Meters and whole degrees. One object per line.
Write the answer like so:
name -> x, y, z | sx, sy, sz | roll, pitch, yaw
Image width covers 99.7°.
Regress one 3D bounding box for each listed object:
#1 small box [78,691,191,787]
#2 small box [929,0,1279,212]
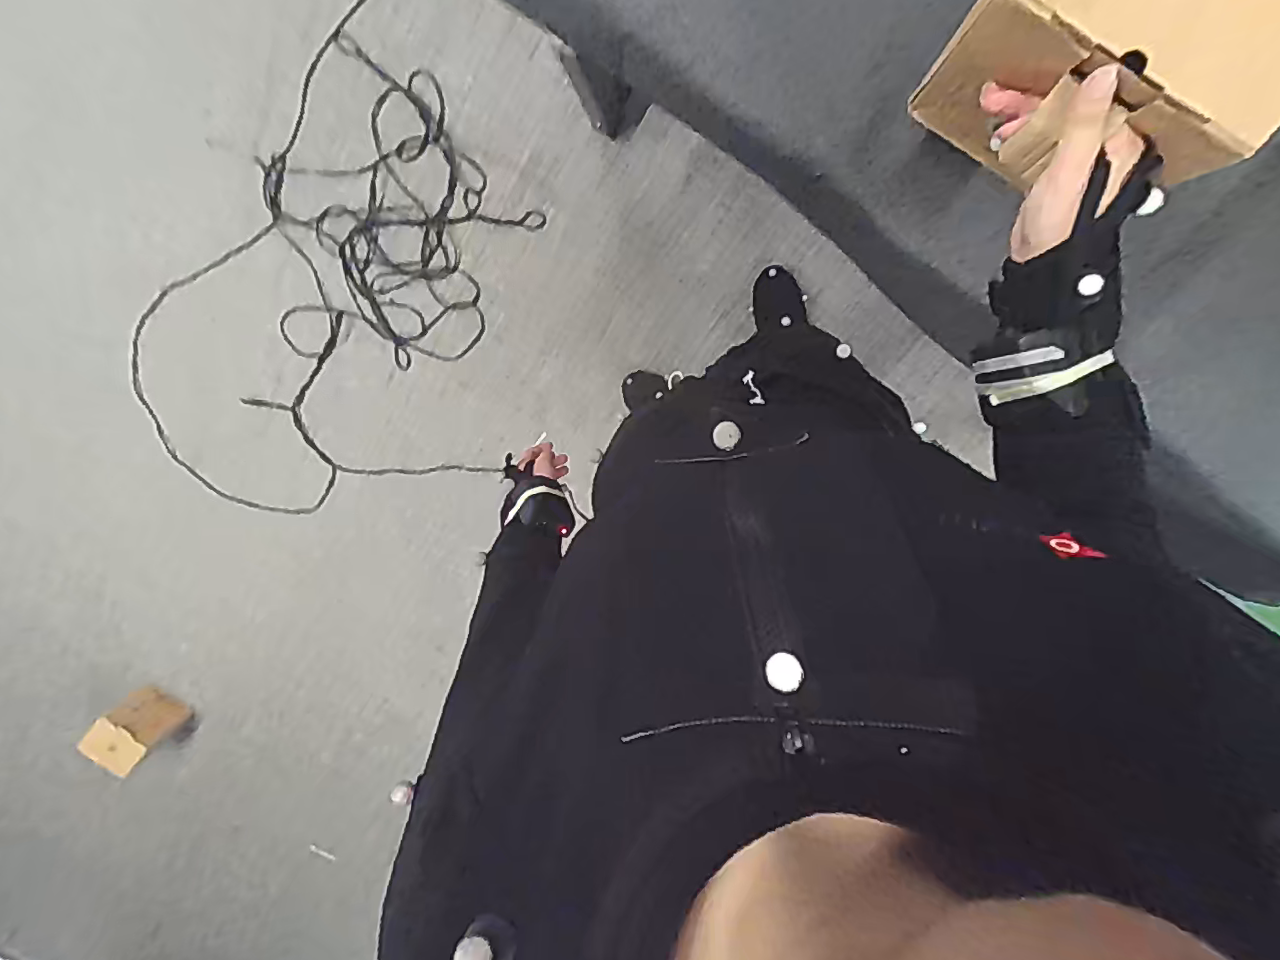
small box -> -1.567, 0.802, 1.690 | 0.168, 0.176, 0.179 | 43, 107, -8
small box -> 0.327, -0.308, 0.344 | 0.168, 0.176, 0.179 | 34, 107, -1
